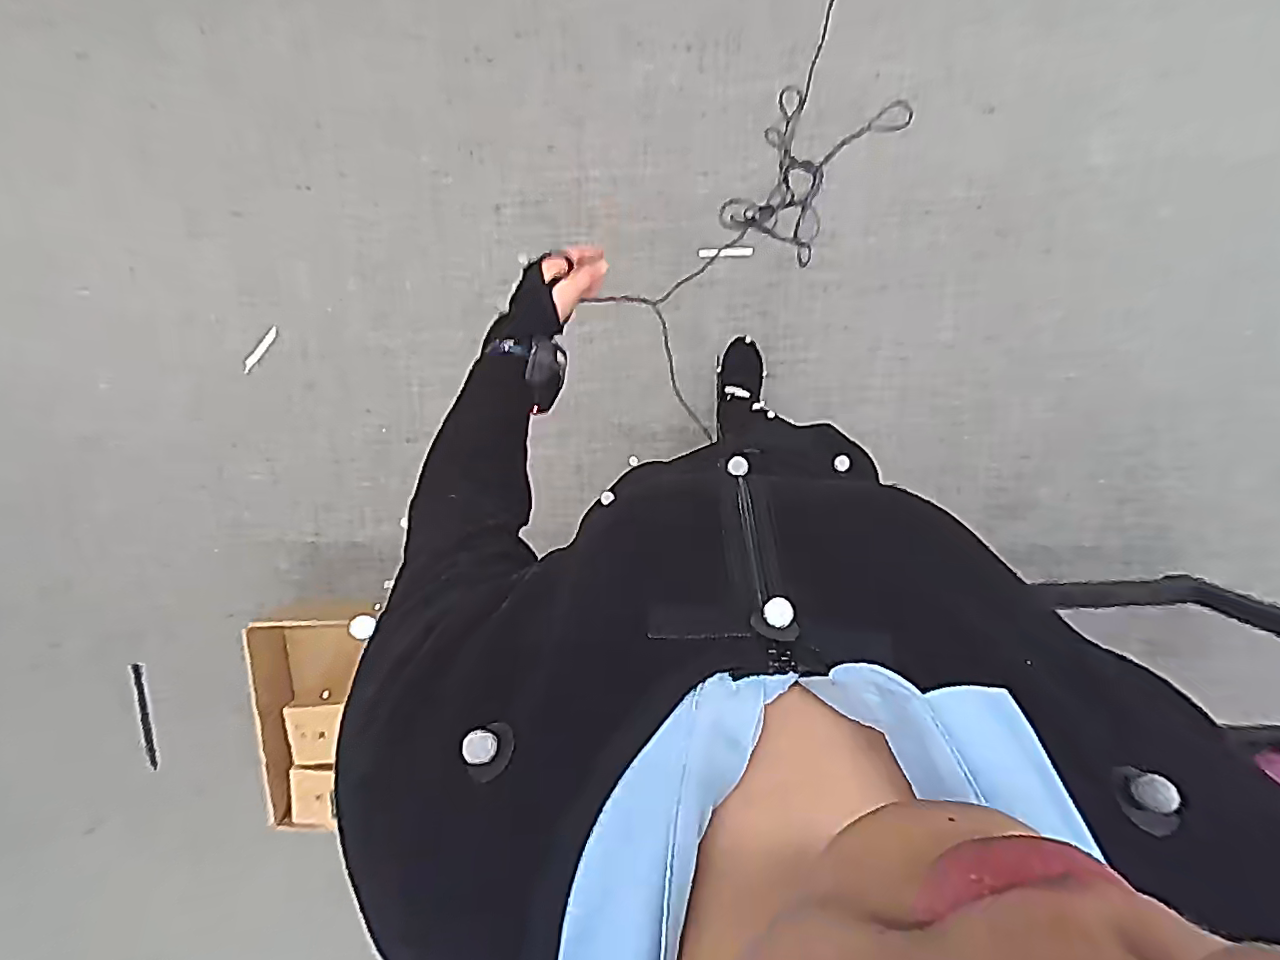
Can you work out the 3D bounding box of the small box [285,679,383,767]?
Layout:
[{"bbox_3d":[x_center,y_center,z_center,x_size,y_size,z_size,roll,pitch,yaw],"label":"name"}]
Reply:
[{"bbox_3d":[-0.850,0.680,1.527,0.179,0.176,0.168,-6,96,5],"label":"small box"}]
